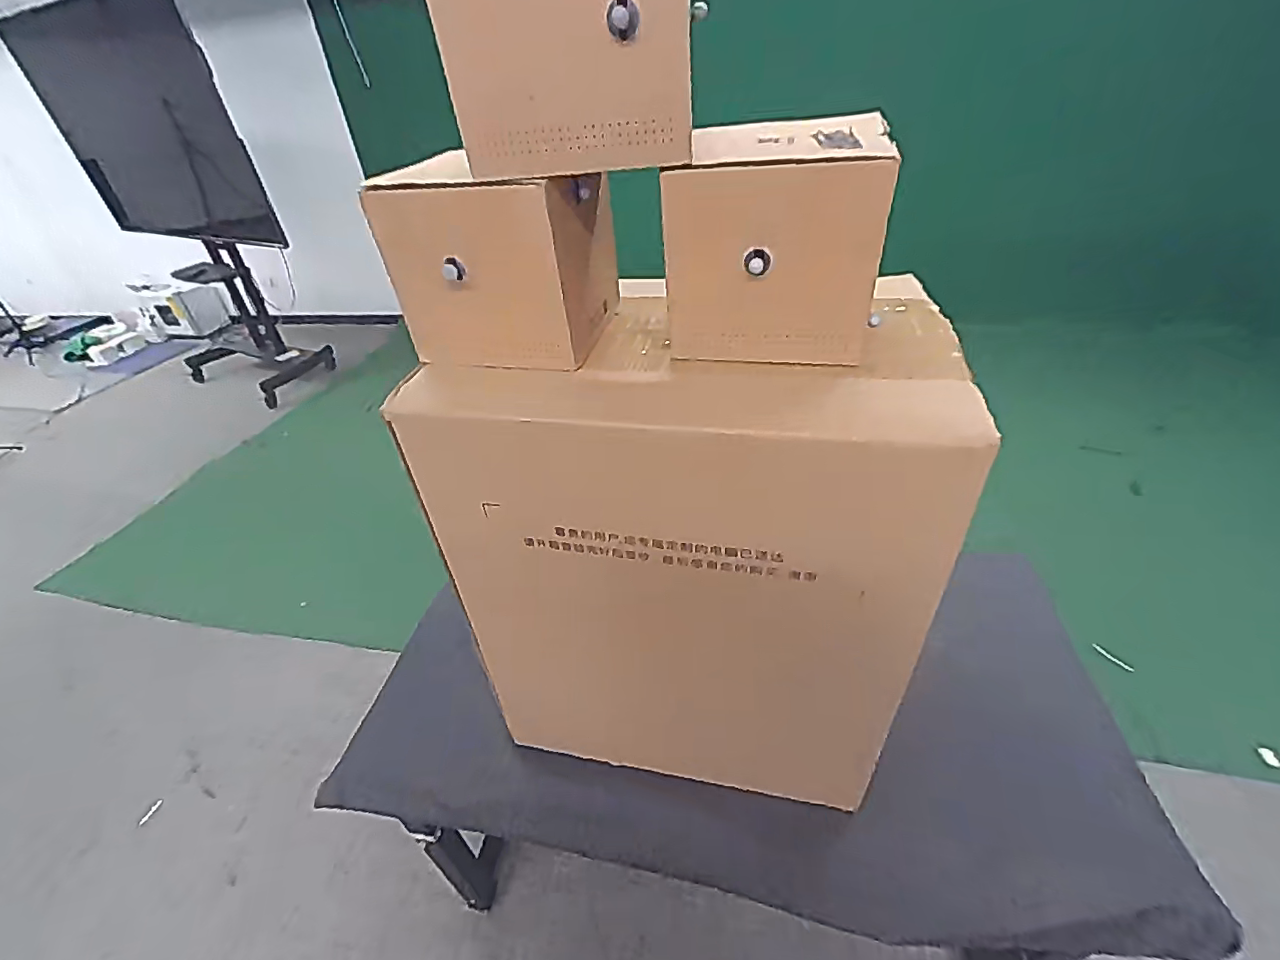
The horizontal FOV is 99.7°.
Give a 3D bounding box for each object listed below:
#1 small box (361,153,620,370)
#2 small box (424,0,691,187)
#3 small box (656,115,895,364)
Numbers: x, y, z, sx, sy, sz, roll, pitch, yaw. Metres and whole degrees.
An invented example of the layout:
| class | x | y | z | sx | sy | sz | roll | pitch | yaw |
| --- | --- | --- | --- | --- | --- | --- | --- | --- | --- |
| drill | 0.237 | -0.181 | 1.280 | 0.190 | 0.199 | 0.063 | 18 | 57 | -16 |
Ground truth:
| class | x | y | z | sx | sy | sz | roll | pitch | yaw |
| --- | --- | --- | --- | --- | --- | --- | --- | --- | --- |
| small box | -0.131 | -0.225 | 0.551 | 0.179 | 0.176 | 0.168 | 6 | 42 | 14 |
| small box | -0.049 | -0.346 | 0.428 | 0.179 | 0.176 | 0.168 | -2 | 39 | 7 |
| small box | 0.123 | -0.222 | 0.507 | 0.179 | 0.176 | 0.168 | 5 | 42 | 15 |
